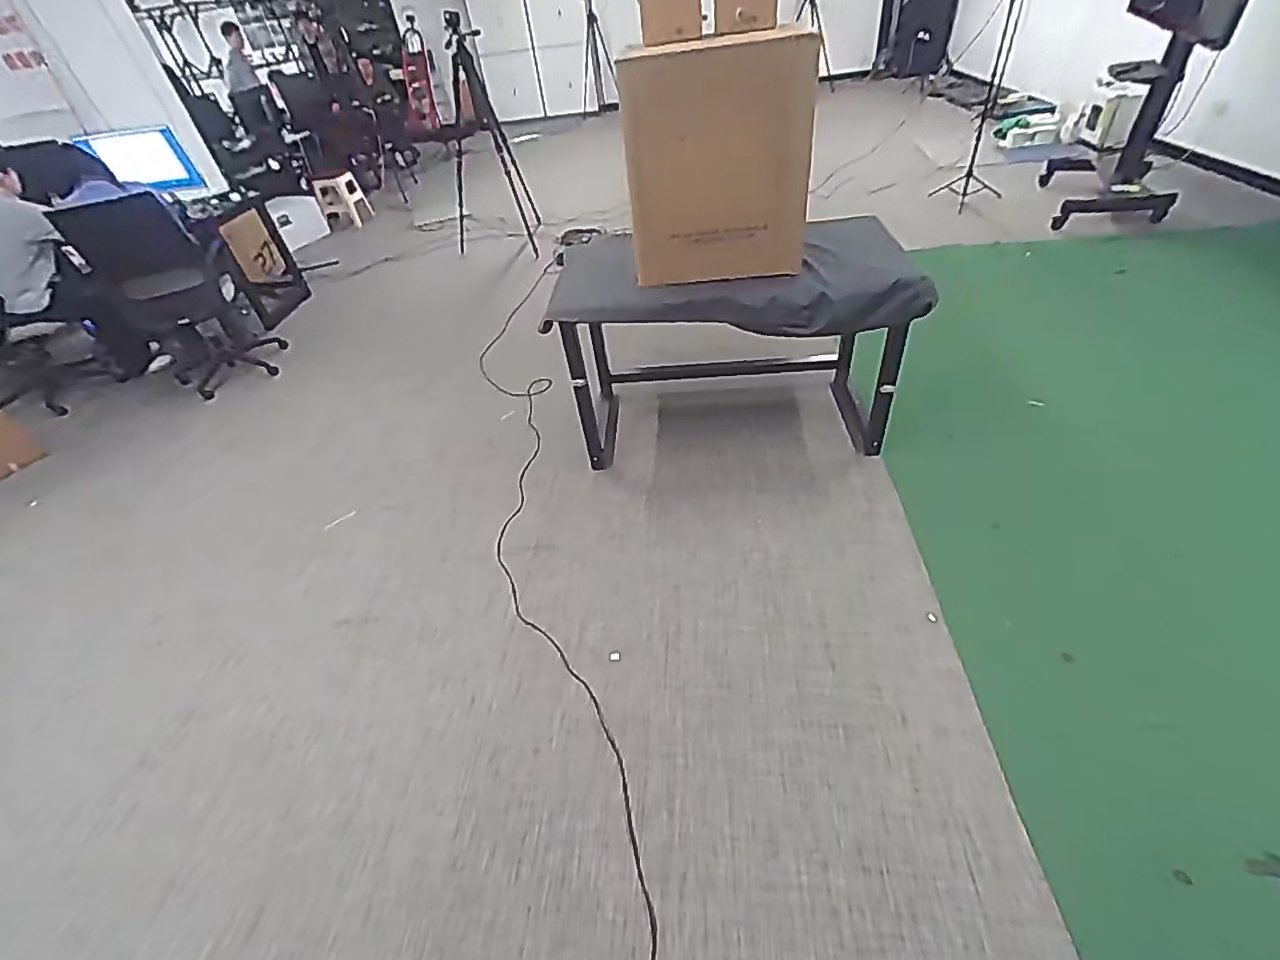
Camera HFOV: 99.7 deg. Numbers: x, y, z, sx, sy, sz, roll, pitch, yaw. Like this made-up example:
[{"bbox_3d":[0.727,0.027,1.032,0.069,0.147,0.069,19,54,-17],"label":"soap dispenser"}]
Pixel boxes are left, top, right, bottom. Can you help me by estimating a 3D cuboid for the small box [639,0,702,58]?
[{"bbox_3d":[0.088,-1.308,1.524,0.168,0.176,0.179,-3,40,8],"label":"small box"}]
